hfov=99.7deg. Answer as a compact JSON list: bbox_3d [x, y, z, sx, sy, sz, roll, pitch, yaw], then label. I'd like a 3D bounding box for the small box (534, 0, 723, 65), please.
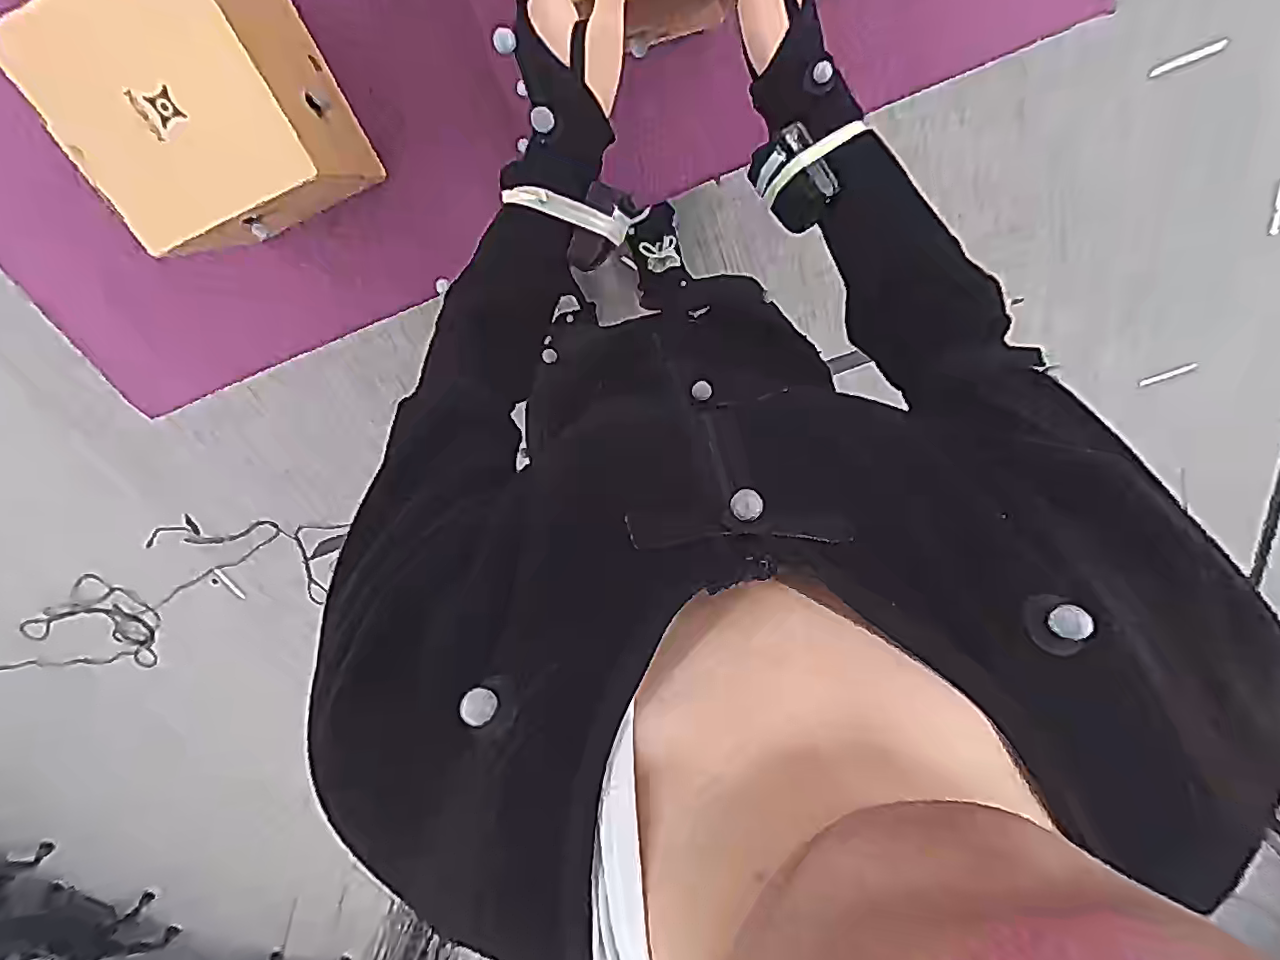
[{"bbox_3d":[-0.021,-0.467,0.419,0.168,0.176,0.179,-14,115,3],"label":"small box"}]

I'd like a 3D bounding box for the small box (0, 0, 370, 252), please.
[{"bbox_3d":[-0.378,-0.332,0.490,0.179,0.176,0.168,-20,119,8],"label":"small box"}]
